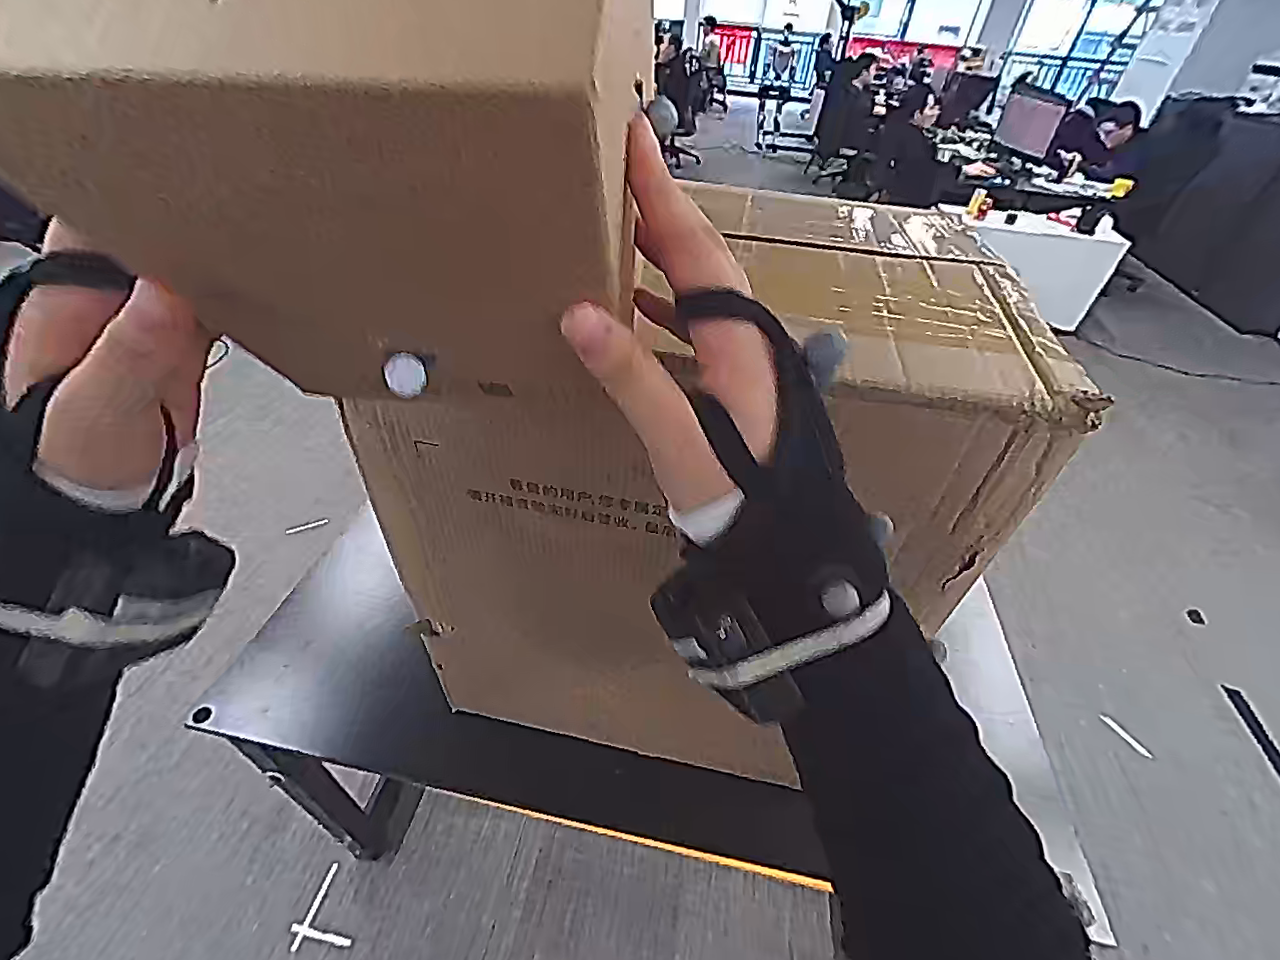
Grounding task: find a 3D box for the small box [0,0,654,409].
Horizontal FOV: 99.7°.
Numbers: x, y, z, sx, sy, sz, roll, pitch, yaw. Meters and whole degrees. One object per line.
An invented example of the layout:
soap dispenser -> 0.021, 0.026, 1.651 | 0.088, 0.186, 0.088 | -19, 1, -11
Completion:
small box -> -0.082, -0.148, 0.223 | 0.168, 0.176, 0.179 | 4, 73, 3
